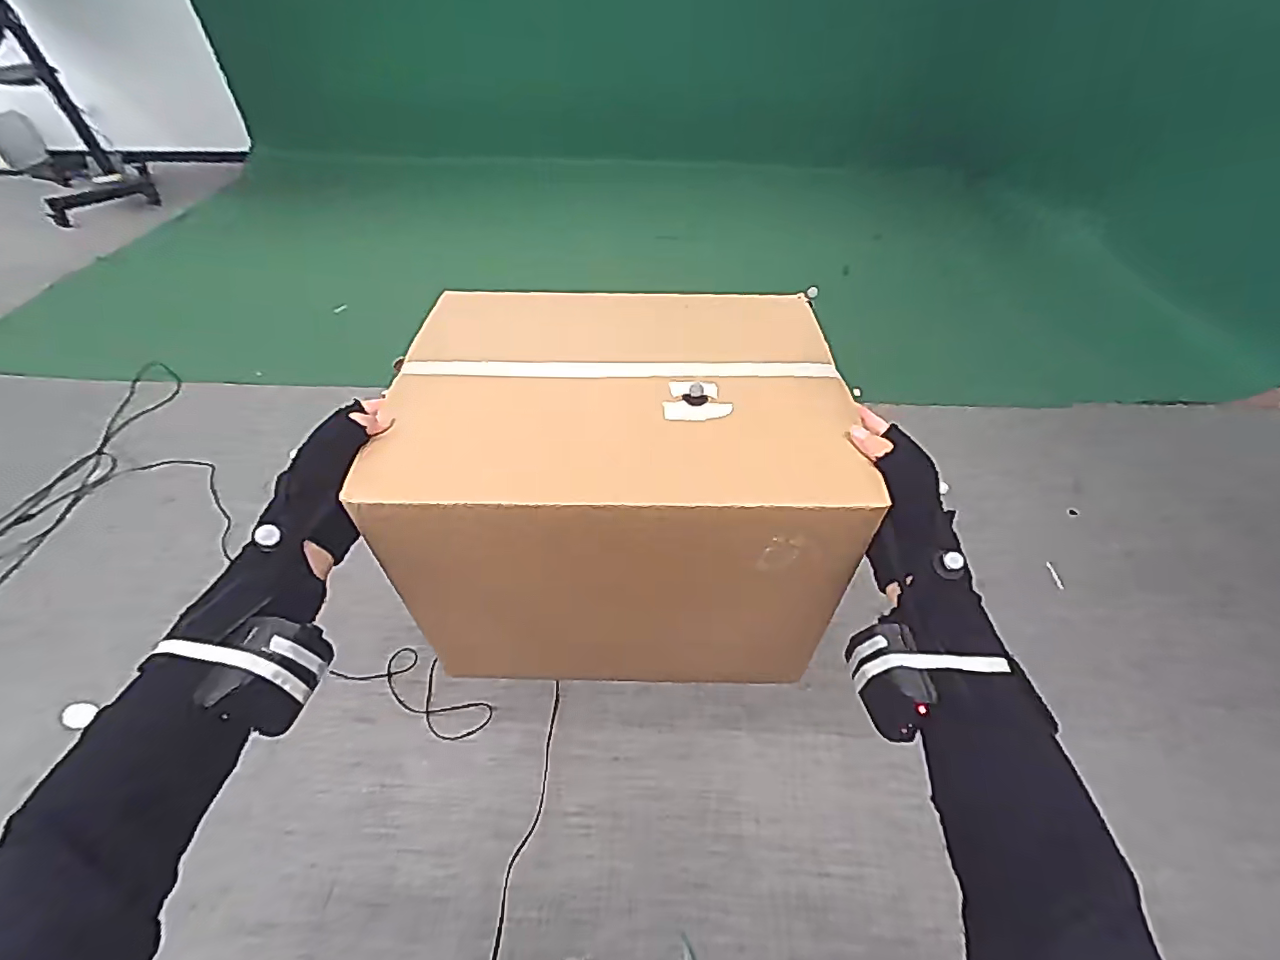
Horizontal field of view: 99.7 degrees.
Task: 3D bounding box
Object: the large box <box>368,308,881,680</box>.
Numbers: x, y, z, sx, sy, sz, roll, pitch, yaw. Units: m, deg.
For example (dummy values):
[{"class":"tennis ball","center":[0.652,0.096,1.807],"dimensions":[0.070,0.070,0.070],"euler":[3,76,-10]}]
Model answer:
[{"class":"large box","center":[-0.016,0.018,0.620],"dimensions":[0.408,0.320,0.320],"euler":[1,47,-1]}]
